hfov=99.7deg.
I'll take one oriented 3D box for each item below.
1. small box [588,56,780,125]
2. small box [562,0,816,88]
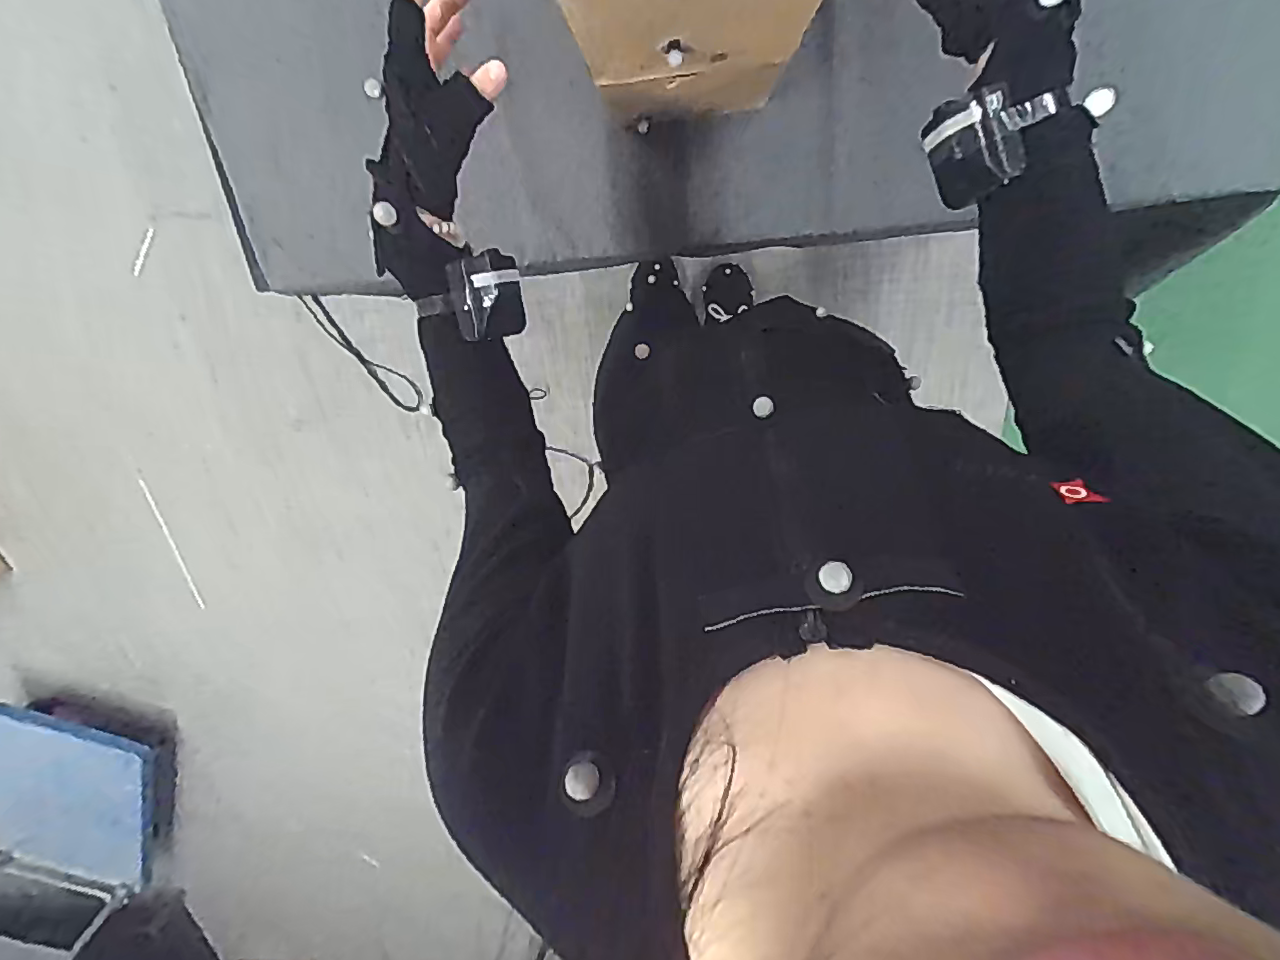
[{"bbox_3d":[0.037,-0.452,0.502,0.168,0.176,0.179,-4,110,6],"label":"small box"},{"bbox_3d":[0.026,-0.392,0.352,0.168,0.176,0.179,-4,111,6],"label":"small box"}]
